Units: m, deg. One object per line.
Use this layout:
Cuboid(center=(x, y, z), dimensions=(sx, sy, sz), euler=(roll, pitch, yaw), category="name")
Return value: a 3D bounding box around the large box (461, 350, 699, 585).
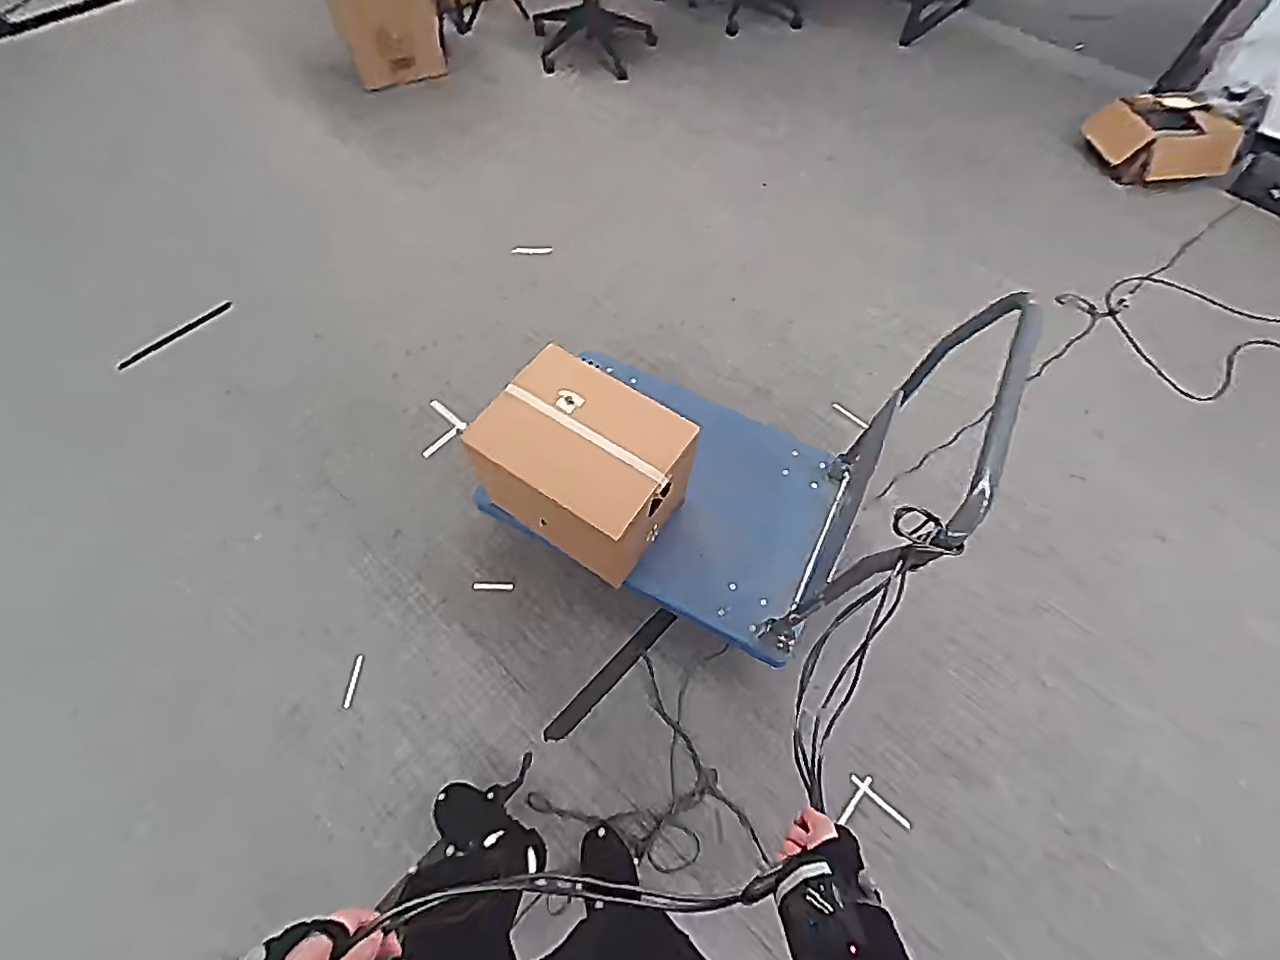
Cuboid(center=(-0.122, -0.021, 1.250), dimensions=(0.408, 0.320, 0.320), euler=(31, 65, 15), category="large box")
